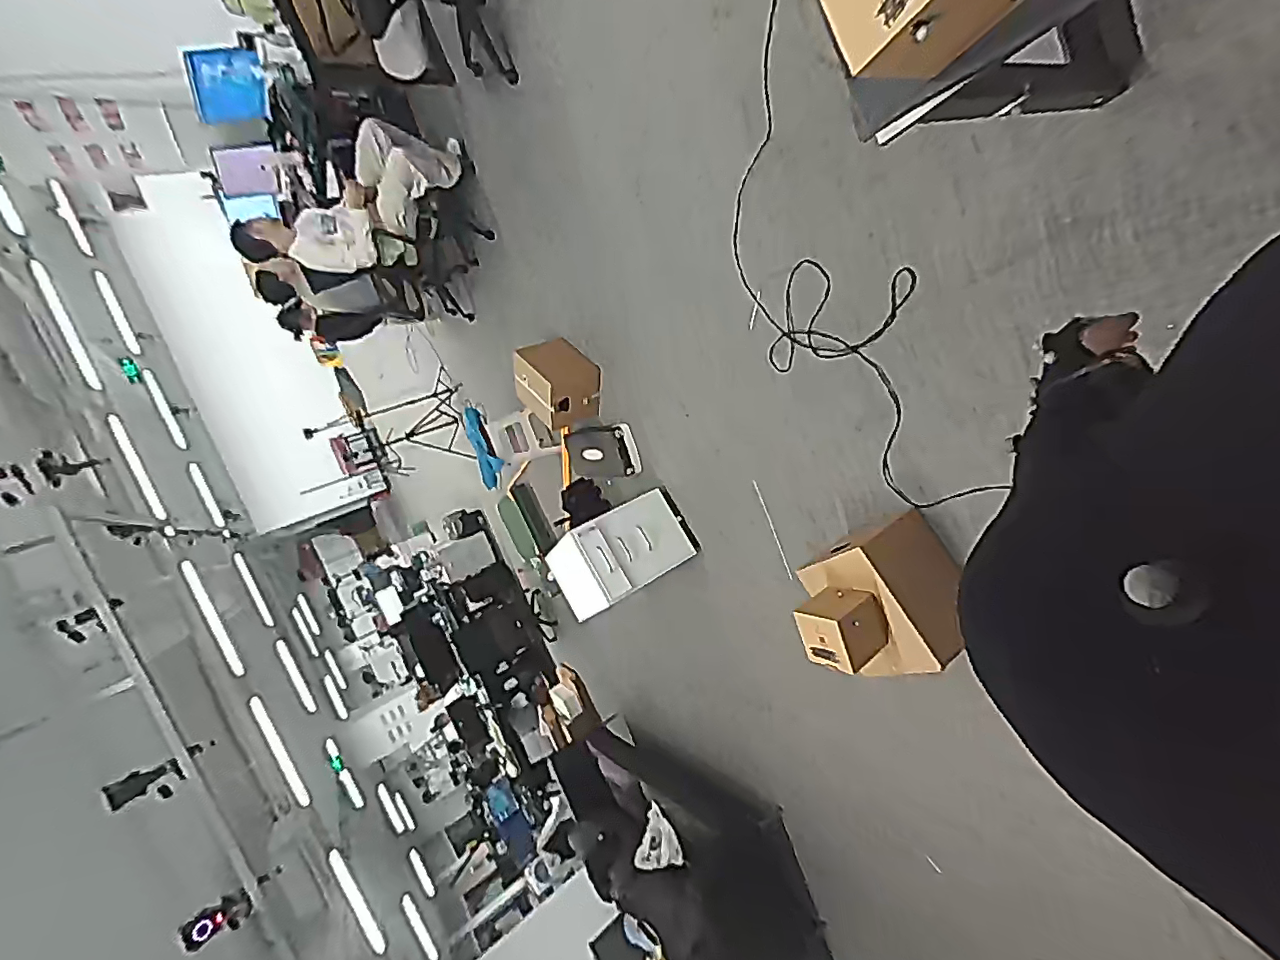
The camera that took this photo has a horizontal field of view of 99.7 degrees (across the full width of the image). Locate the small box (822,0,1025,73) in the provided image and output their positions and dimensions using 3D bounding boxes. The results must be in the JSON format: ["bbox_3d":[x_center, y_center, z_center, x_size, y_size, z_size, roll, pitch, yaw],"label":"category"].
[{"bbox_3d":[0.297,-0.553,0.549,0.168,0.176,0.179,-21,94,59],"label":"small box"}]
